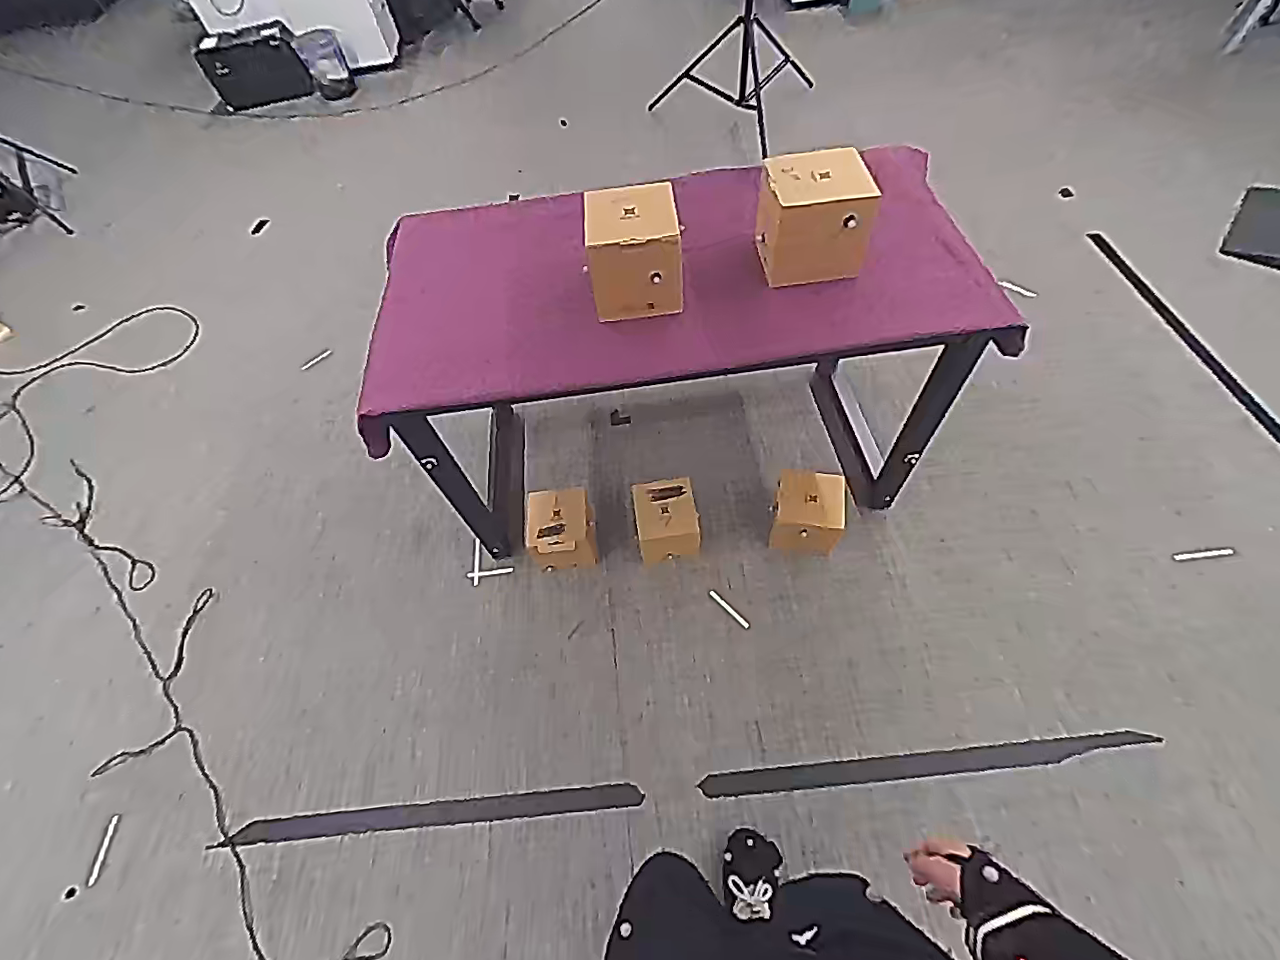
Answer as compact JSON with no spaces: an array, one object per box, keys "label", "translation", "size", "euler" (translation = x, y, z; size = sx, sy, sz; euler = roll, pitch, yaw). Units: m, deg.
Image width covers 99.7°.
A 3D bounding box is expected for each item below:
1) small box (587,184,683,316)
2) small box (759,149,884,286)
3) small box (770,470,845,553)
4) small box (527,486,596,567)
[{"label":"small box","translation":[-0.008,-0.429,1.030],"size":[0.168,0.176,0.179],"euler":[-6,56,1]},{"label":"small box","translation":[0.335,-0.497,1.036],"size":[0.179,0.176,0.168],"euler":[-6,57,3]},{"label":"small box","translation":[0.468,0.092,1.520],"size":[0.179,0.176,0.168],"euler":[7,60,11]},{"label":"small box","translation":[-0.221,0.141,1.557],"size":[0.168,0.176,0.179],"euler":[-6,57,2]}]
